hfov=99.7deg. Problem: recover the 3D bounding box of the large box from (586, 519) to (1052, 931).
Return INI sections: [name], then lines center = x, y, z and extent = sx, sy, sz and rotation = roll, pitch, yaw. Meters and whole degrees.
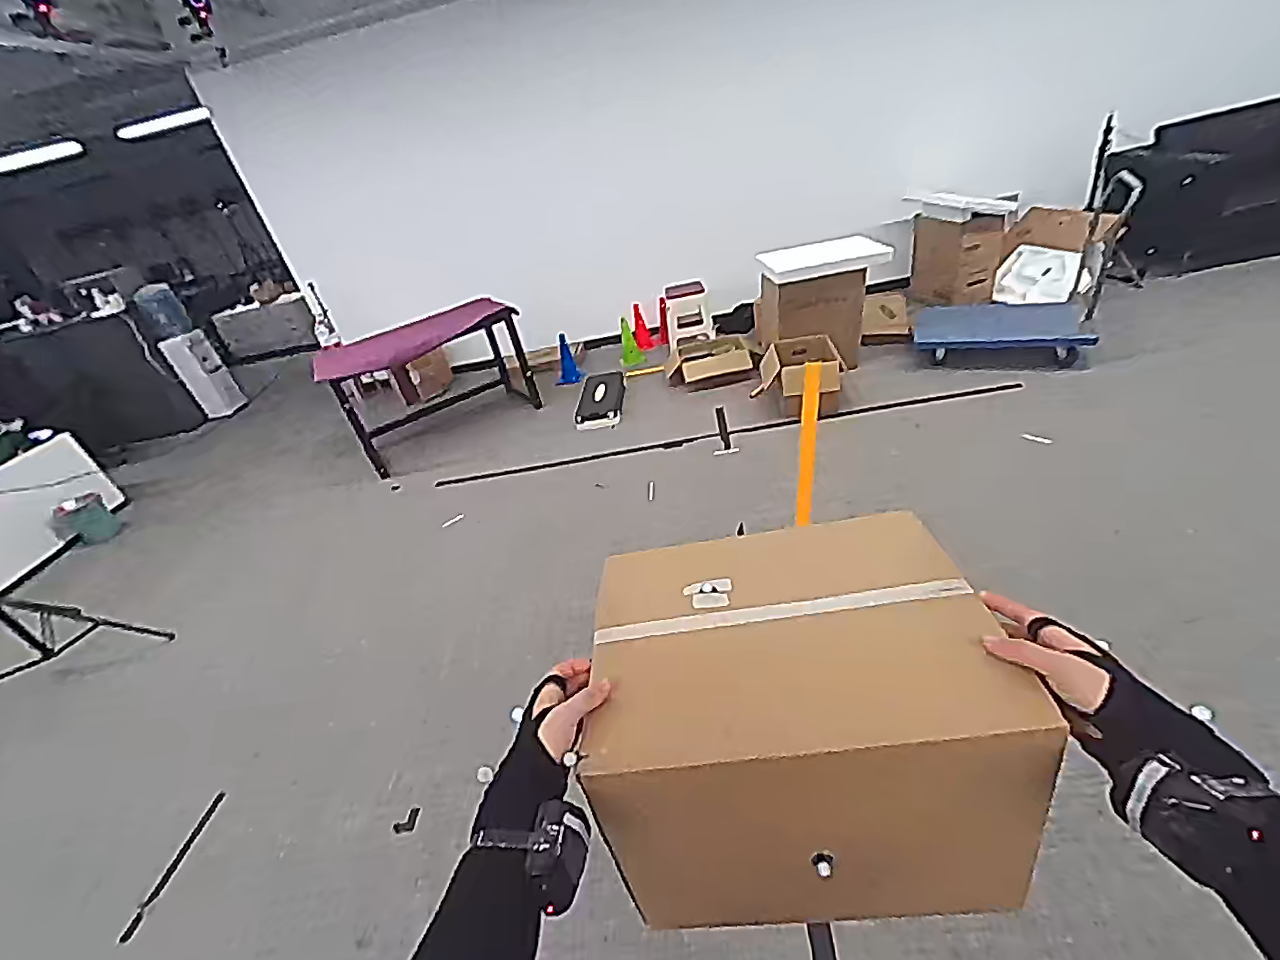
[large box]
center = 0.179, 0.288, 0.660
extent = 0.408, 0.320, 0.320
rotation = -11, 28, 7
